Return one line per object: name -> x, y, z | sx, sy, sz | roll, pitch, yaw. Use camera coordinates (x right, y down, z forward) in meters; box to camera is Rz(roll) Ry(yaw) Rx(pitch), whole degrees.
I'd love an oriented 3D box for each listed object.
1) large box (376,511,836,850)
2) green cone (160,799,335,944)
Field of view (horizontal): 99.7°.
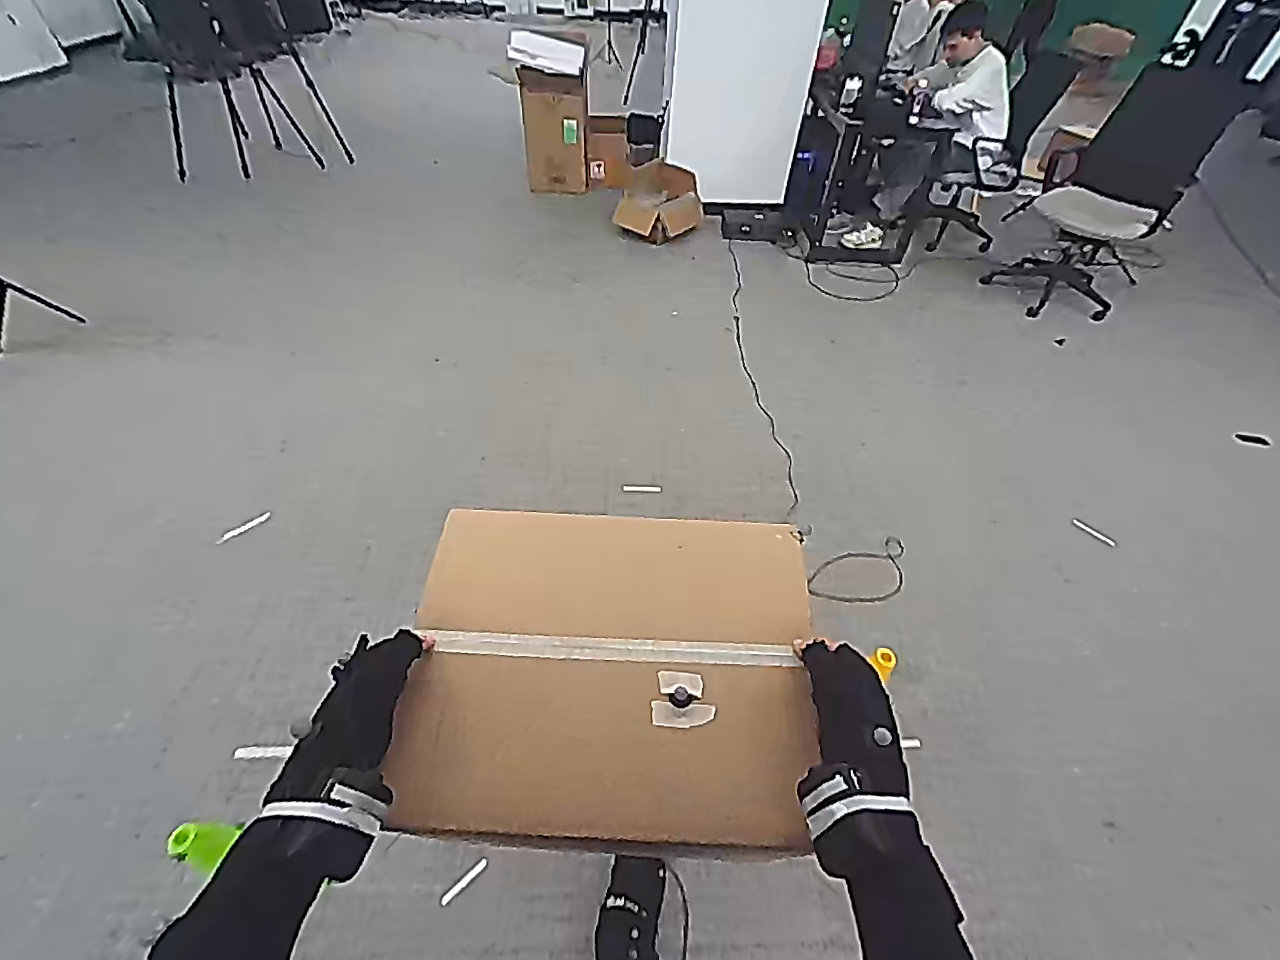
large box -> -0.029, 0.256, 0.666 | 0.408, 0.320, 0.320 | 3, 54, 0
green cone -> -0.783, 0.718, 1.042 | 0.202, 0.368, 0.200 | -29, 54, -25
